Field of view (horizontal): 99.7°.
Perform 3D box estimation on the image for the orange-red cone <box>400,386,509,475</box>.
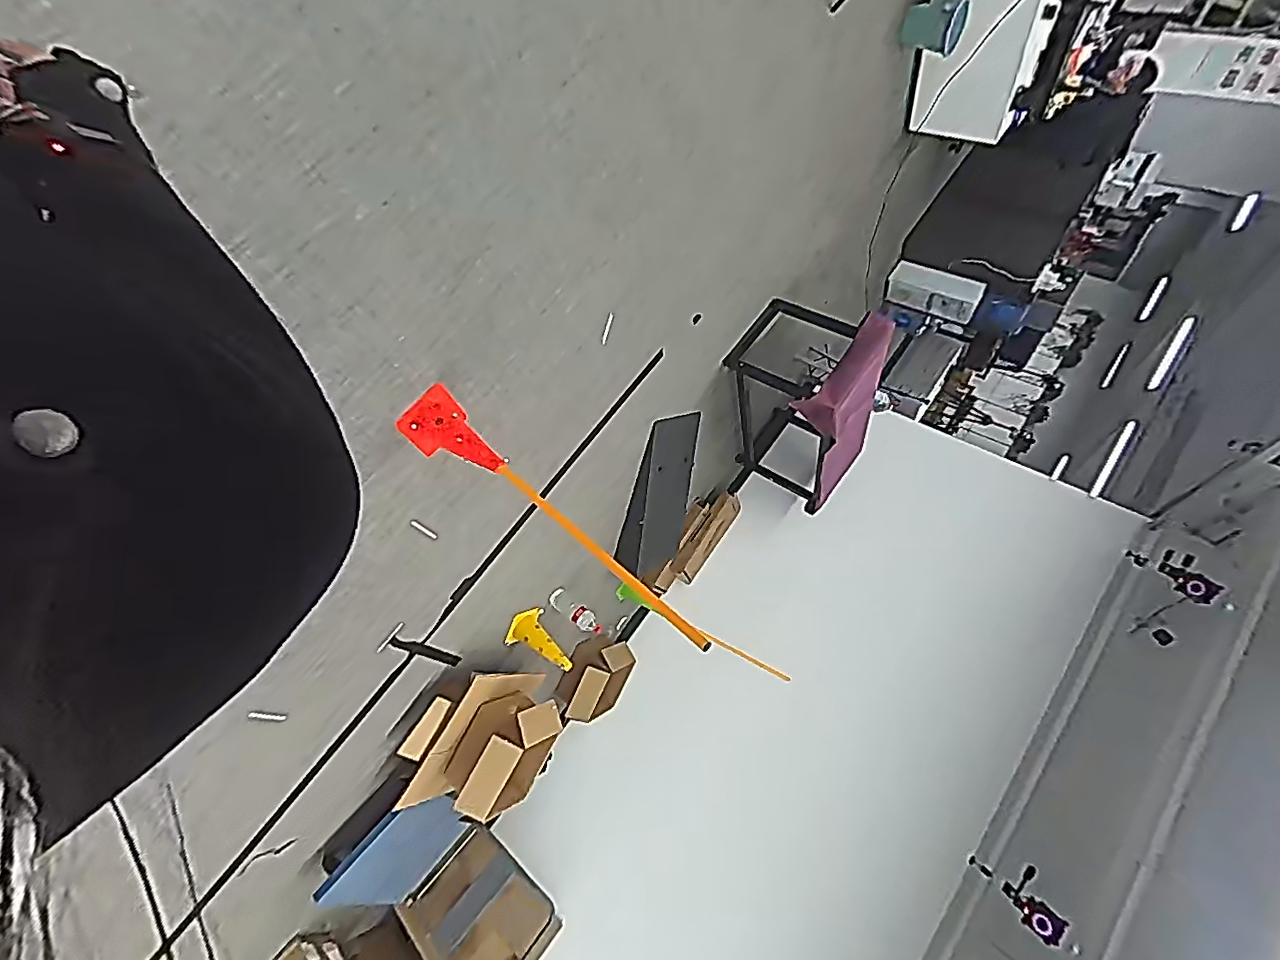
[{"bbox_3d":[-0.540,-0.112,1.698,0.198,0.360,0.199,-49,152,-17],"label":"orange-red cone"}]
